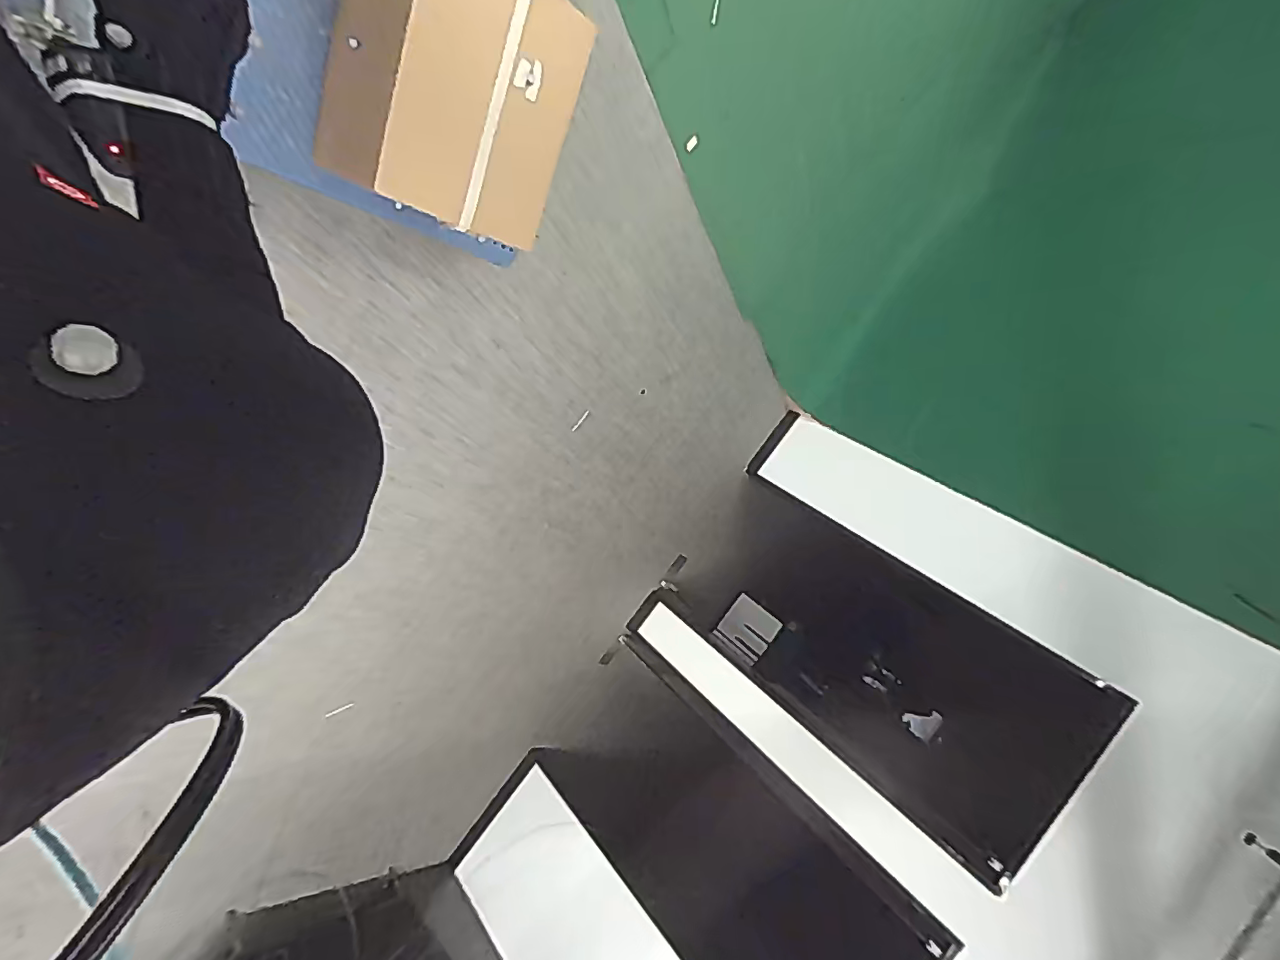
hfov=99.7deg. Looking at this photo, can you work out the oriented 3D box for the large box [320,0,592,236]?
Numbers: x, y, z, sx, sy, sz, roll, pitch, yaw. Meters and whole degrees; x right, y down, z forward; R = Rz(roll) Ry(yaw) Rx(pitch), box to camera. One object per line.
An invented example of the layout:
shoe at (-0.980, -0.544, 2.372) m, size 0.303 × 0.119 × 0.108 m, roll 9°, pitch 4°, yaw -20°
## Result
large box at (-0.351, -0.727, 0.993) m, size 0.320 × 0.320 × 0.408 m, roll -1°, pitch 119°, yaw -50°
